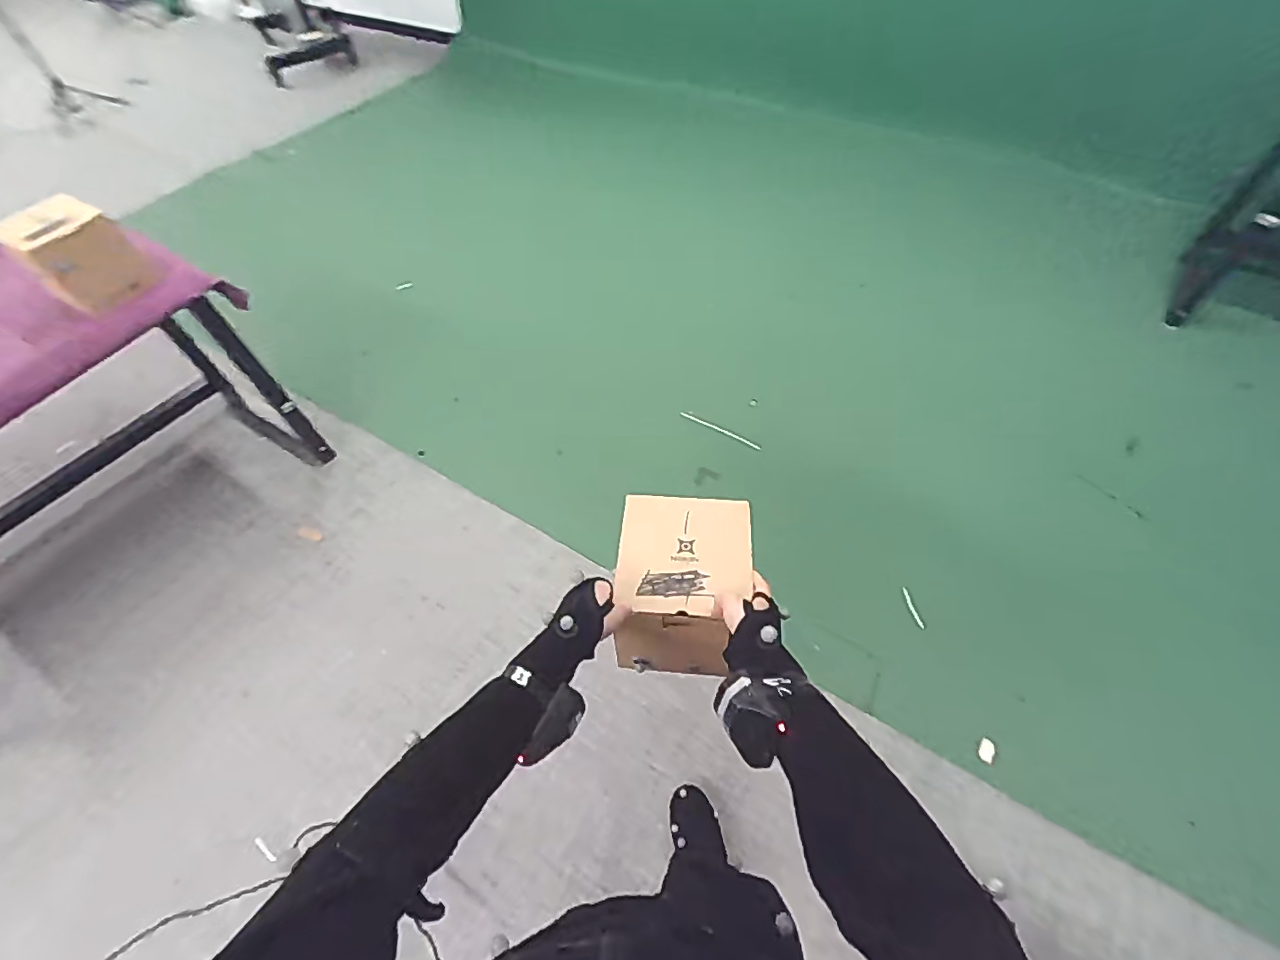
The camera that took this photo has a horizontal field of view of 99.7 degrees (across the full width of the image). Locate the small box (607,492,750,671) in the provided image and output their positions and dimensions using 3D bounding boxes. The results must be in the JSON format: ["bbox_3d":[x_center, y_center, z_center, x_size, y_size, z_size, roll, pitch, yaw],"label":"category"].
[{"bbox_3d":[0.054,0.138,0.720,0.168,0.176,0.179,3,48,5],"label":"small box"}]
